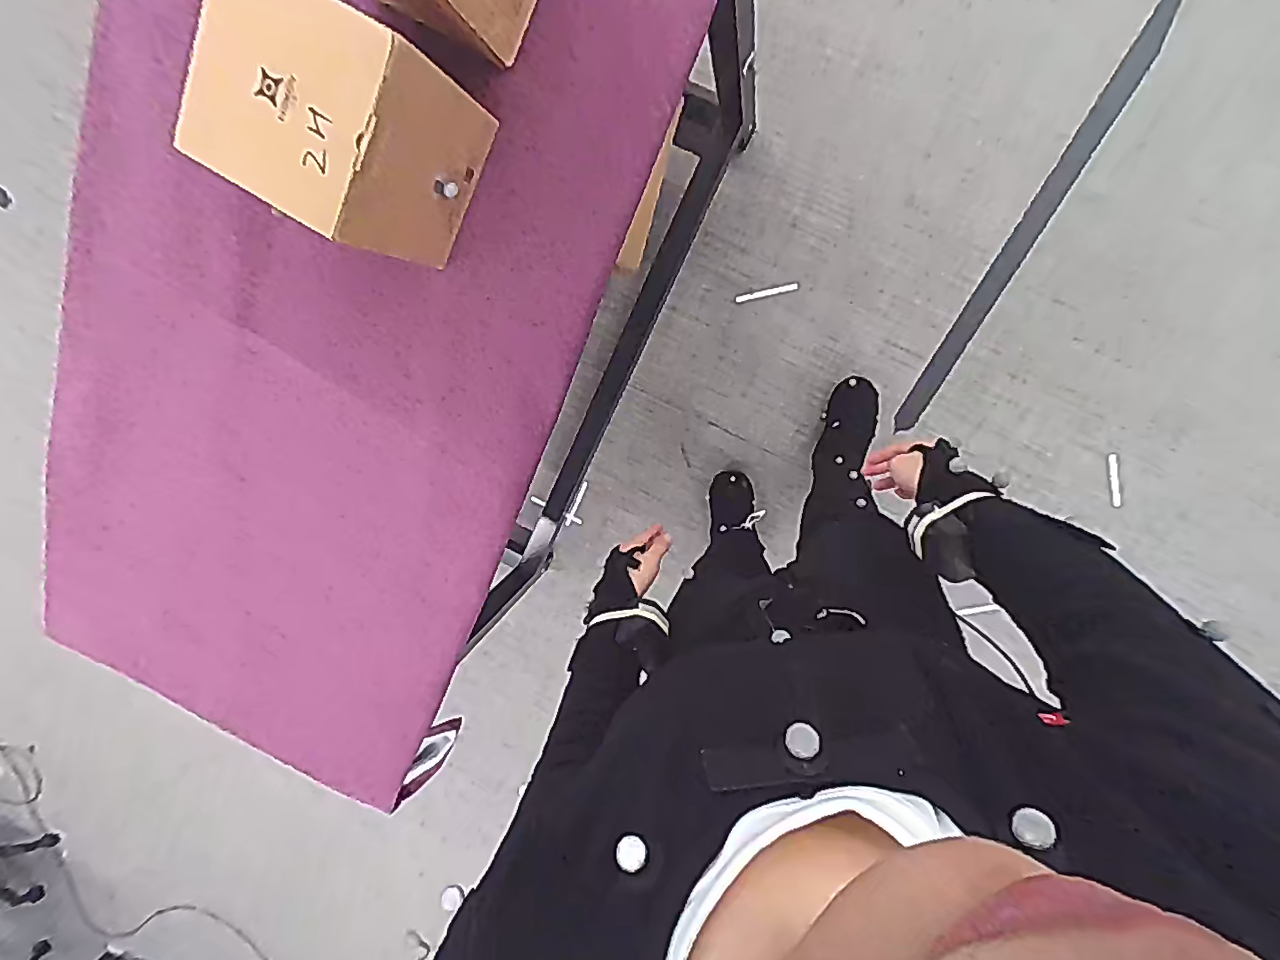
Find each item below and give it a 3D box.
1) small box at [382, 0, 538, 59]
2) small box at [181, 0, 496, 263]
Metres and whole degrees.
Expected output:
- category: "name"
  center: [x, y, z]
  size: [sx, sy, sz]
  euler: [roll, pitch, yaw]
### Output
- category: "small box"
  center: [-0.185, -0.512, 0.460]
  size: [0.179, 0.176, 0.168]
  euler: [31, 108, 5]
- category: "small box"
  center: [-0.274, -0.331, 0.520]
  size: [0.179, 0.176, 0.168]
  euler: [31, 107, 5]
